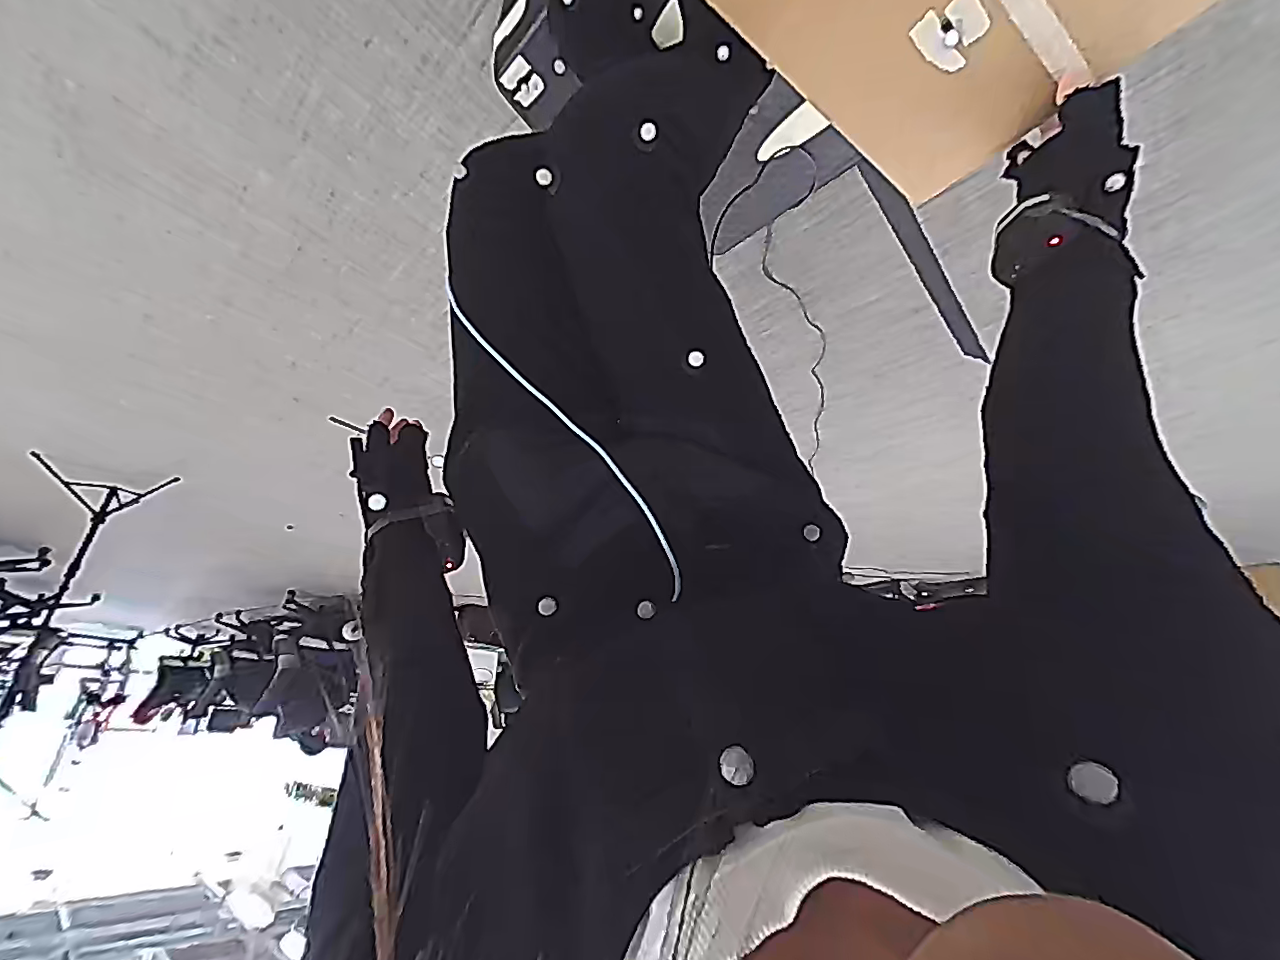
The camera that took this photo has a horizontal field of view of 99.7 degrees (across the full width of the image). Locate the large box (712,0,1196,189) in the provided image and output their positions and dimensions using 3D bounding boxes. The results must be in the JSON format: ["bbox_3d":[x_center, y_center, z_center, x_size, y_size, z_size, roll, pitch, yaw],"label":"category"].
[{"bbox_3d":[0.249,-0.558,0.448,0.408,0.320,0.320,20,155,-29],"label":"large box"}]
